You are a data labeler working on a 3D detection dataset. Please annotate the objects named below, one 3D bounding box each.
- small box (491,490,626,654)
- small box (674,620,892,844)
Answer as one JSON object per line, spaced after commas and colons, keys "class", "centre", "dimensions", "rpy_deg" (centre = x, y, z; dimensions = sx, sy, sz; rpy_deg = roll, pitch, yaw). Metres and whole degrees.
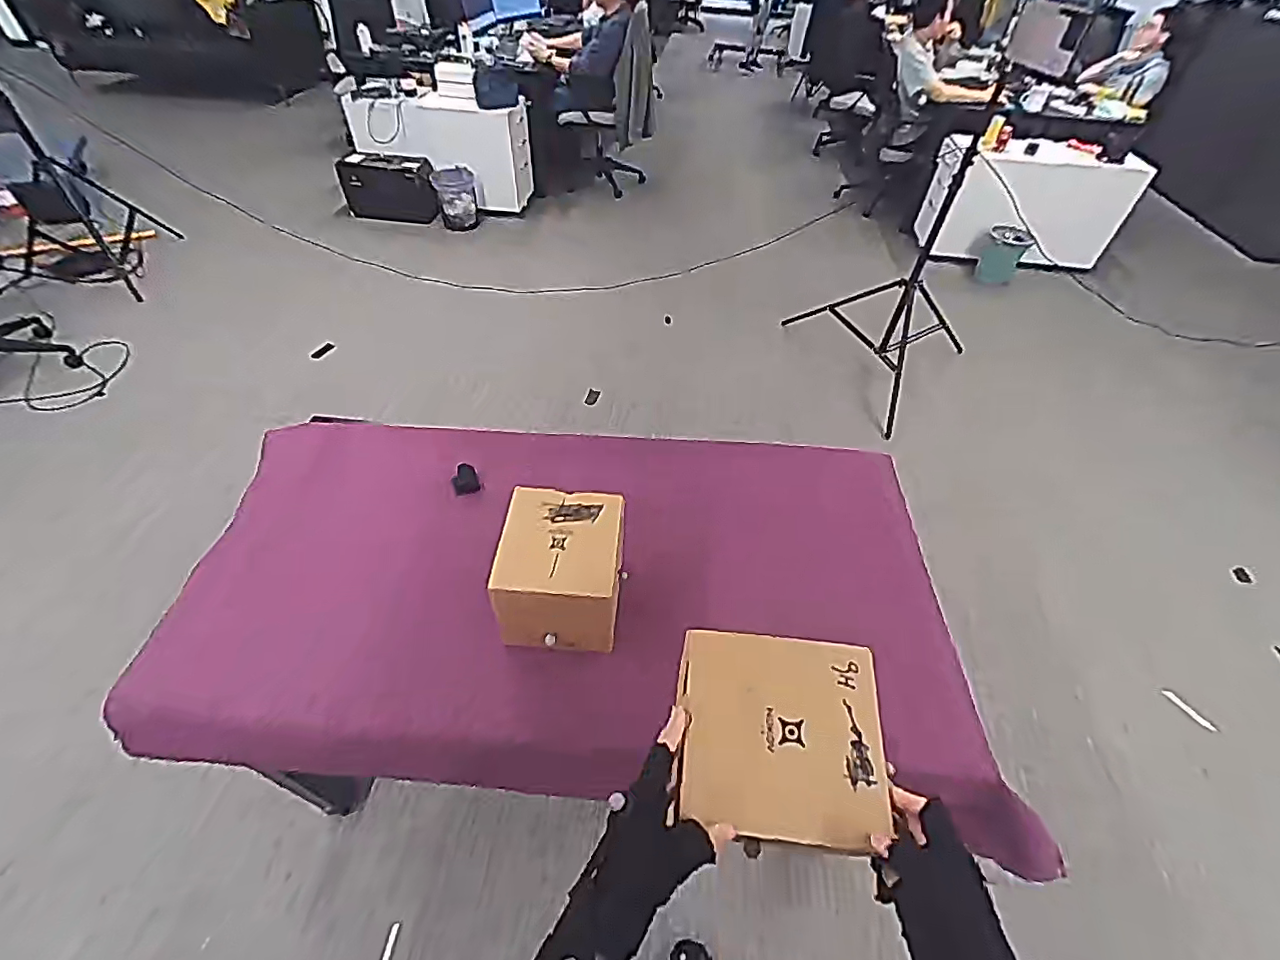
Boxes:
{"class": "small box", "centre": [-0.113, 0.139, 0.818], "dimensions": [0.168, 0.176, 0.179], "rpy_deg": [4, 48, 1]}
{"class": "small box", "centre": [0.127, 0.257, 0.545], "dimensions": [0.179, 0.176, 0.168], "rpy_deg": [4, 54, 5]}
